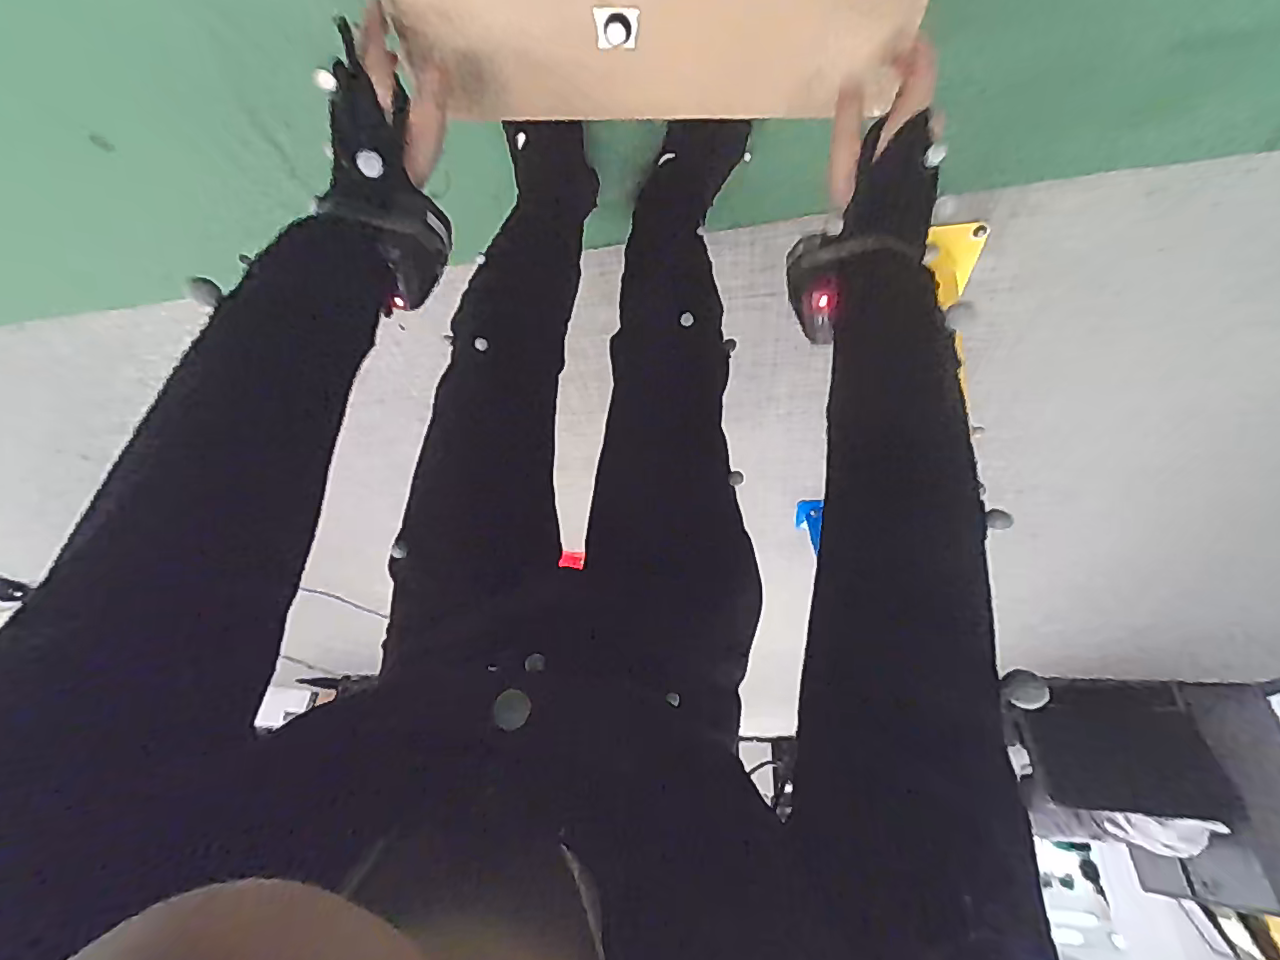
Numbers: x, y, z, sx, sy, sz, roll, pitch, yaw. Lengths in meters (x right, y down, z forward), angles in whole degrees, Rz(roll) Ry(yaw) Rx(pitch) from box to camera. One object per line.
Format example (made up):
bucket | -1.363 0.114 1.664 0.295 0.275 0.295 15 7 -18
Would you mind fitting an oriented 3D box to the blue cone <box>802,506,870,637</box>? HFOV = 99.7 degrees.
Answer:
blue cone | 0.594 0.270 1.588 0.192 0.380 0.193 -3 148 11
